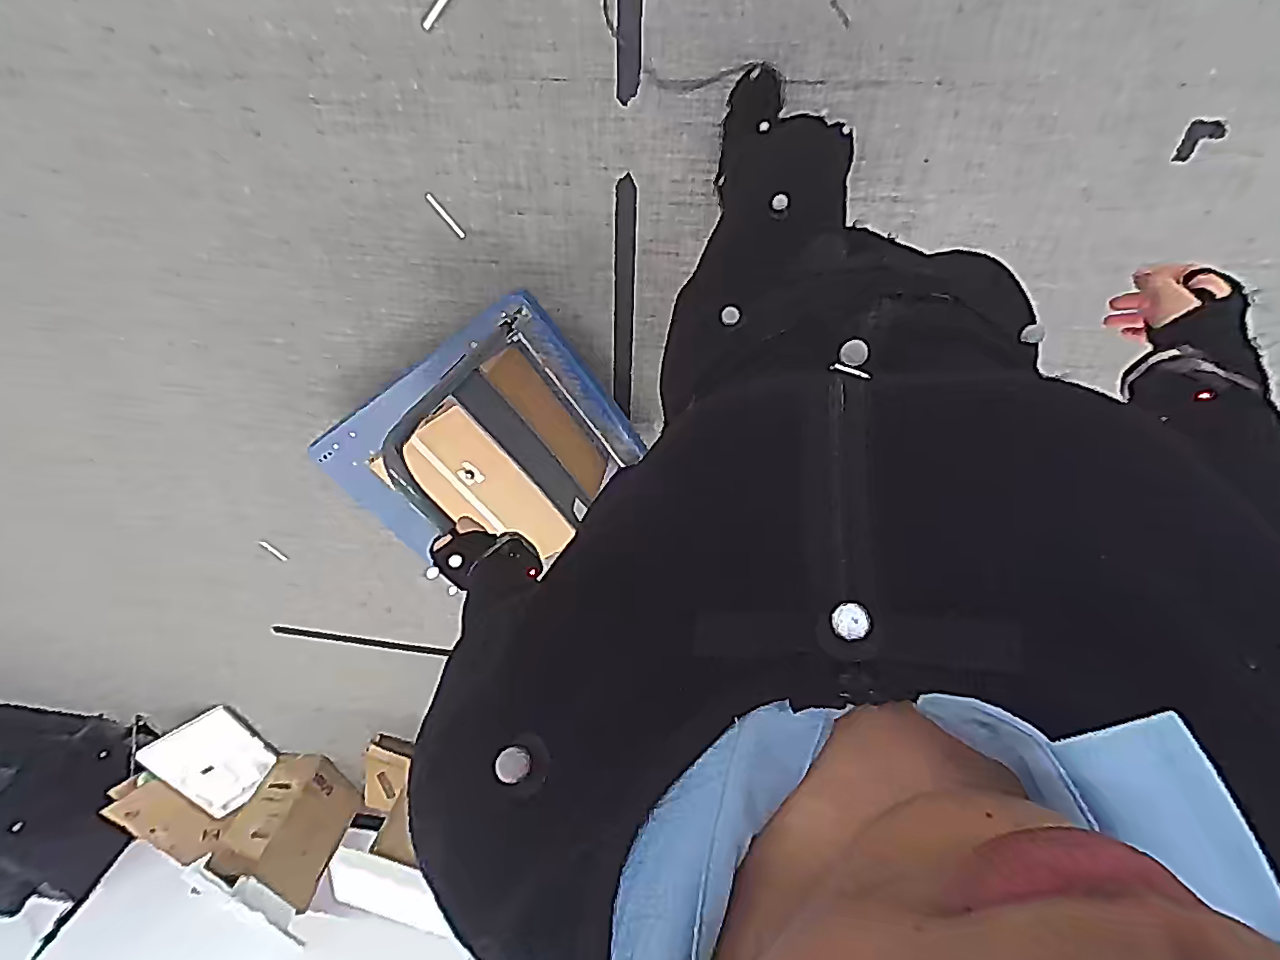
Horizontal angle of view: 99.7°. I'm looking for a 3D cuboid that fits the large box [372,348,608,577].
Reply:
[{"bbox_3d":[-0.337,-0.039,1.327,0.320,0.320,0.408,-26,116,24],"label":"large box"}]
